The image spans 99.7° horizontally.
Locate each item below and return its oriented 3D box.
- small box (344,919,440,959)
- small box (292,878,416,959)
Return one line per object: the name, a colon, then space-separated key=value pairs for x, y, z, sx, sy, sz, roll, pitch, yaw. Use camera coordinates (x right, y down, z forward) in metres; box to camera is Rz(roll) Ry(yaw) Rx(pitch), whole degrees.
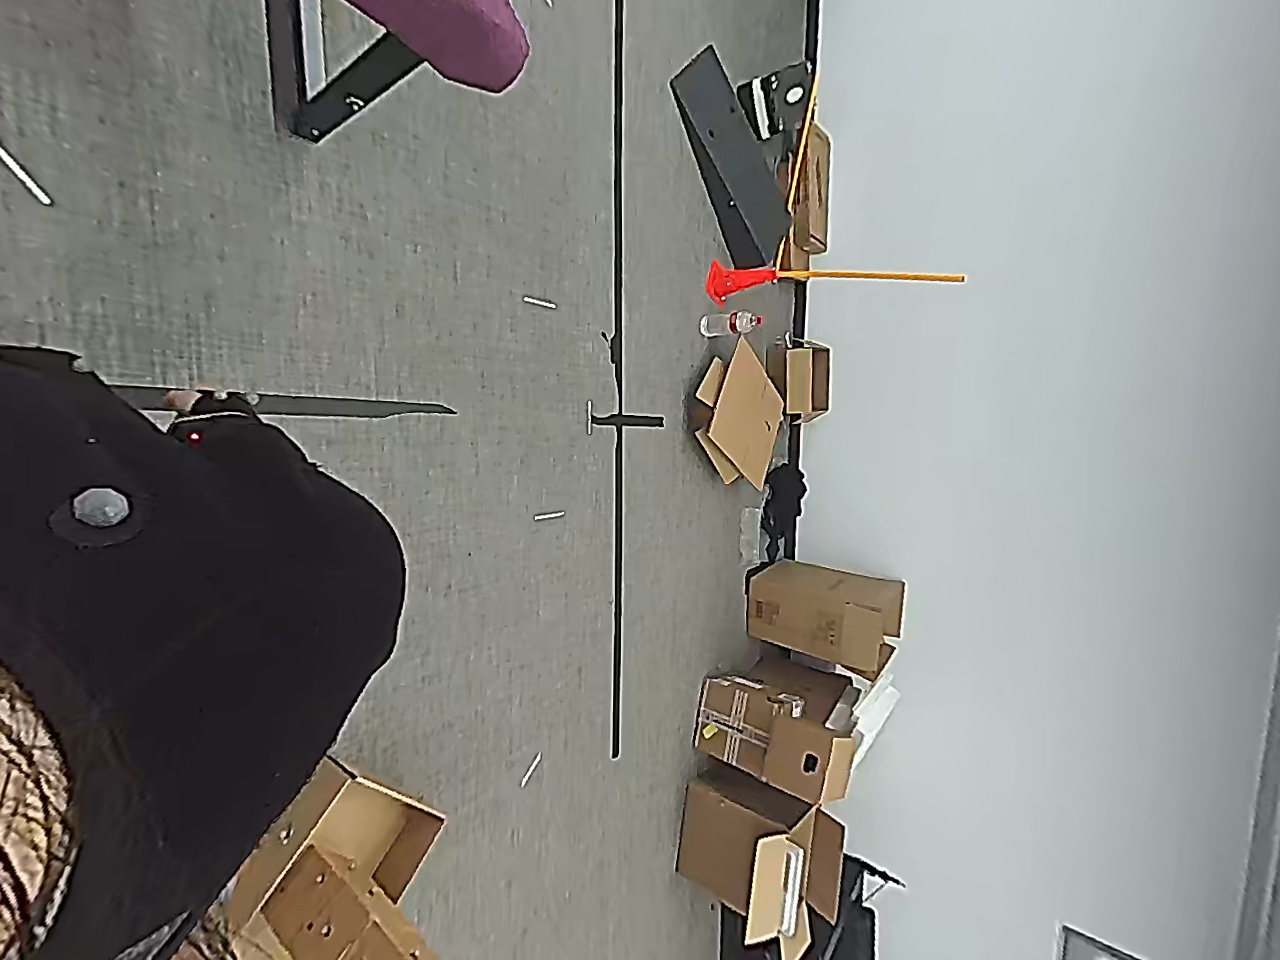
small box: x=-0.567 y=1.139 z=1.218 sx=0.168 sy=0.176 sz=0.179 roll=-56 pitch=135 yaw=-31
small box: x=-0.696 y=1.115 z=1.315 sx=0.168 sy=0.176 sz=0.179 roll=-55 pitch=134 yaw=-32
